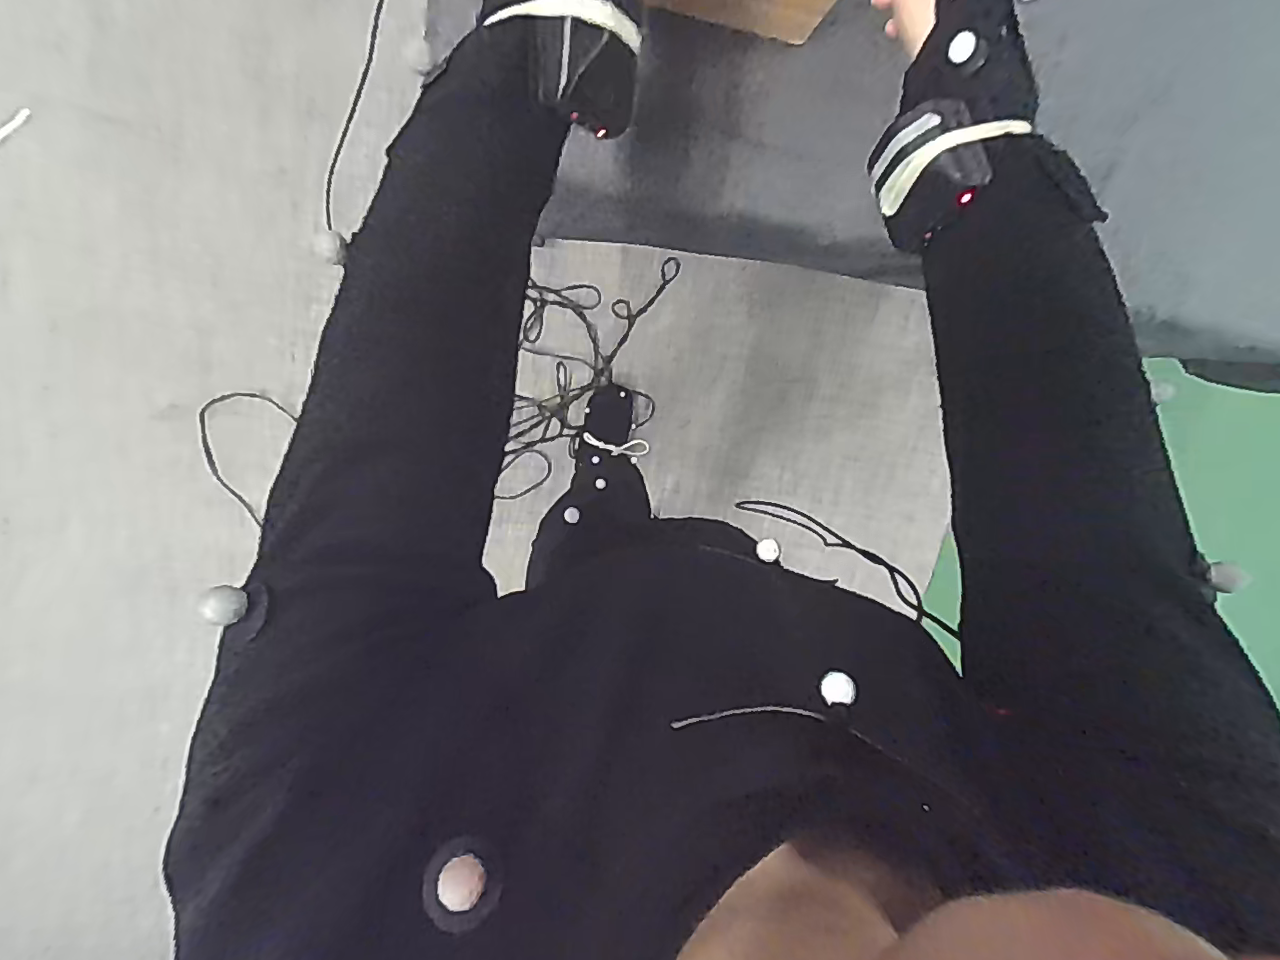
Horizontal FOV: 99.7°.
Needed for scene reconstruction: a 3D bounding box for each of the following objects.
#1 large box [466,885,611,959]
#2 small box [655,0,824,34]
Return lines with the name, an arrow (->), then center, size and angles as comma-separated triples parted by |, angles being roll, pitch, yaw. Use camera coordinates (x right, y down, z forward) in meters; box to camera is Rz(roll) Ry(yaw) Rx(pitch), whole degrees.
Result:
large box -> -0.310, 1.465, 1.590 | 0.408, 0.320, 0.320 | 13, 103, -10
small box -> 0.087, -0.471, 0.391 | 0.179, 0.176, 0.168 | 6, 105, -10
